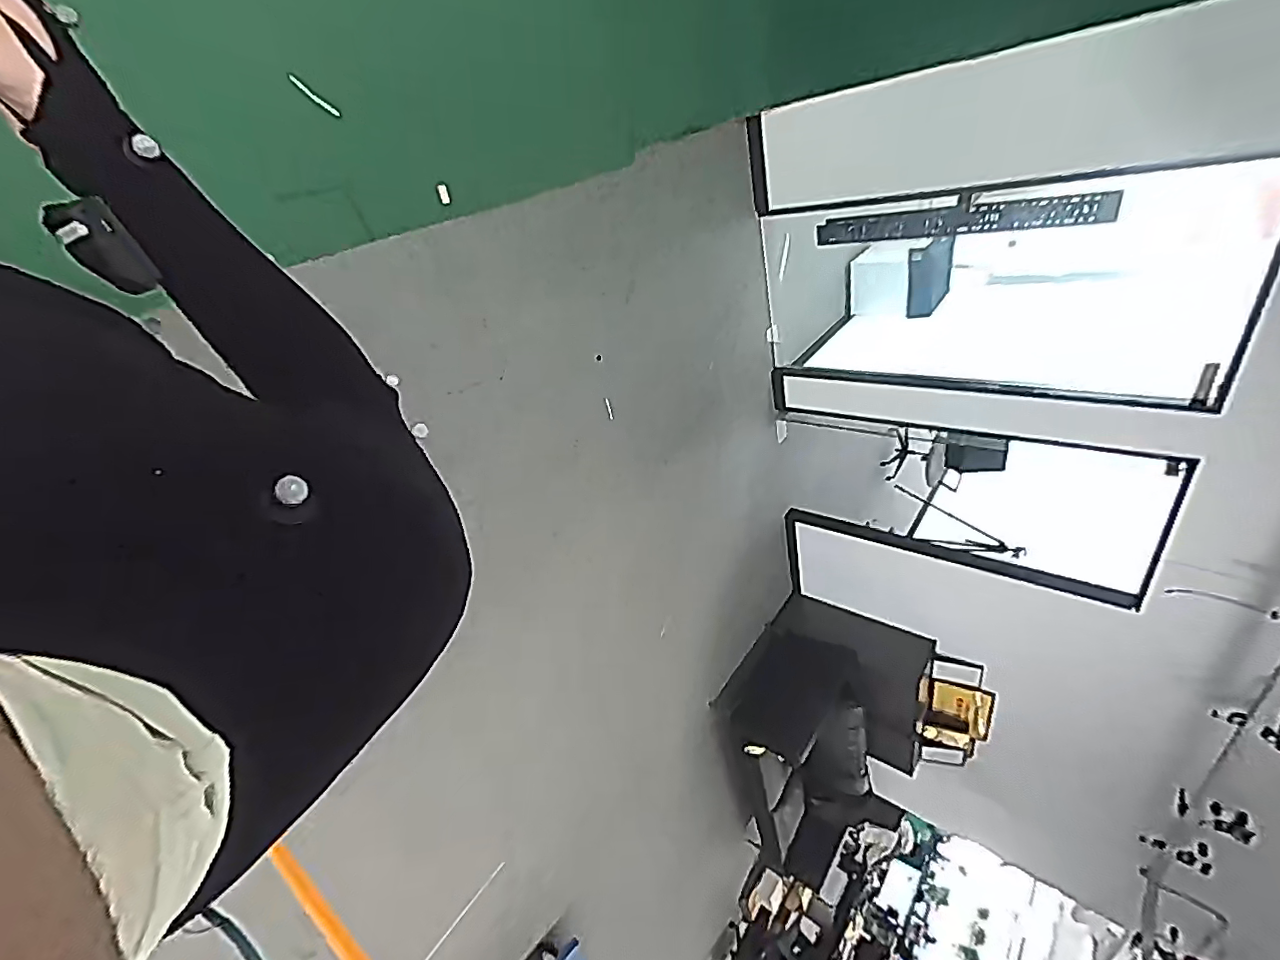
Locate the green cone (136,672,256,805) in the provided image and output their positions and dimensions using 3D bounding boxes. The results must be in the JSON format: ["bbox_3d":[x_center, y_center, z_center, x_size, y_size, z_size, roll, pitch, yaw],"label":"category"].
[{"bbox_3d":[-1.048,0.674,1.338,0.202,0.368,0.200,-40,130,-34],"label":"green cone"}]
